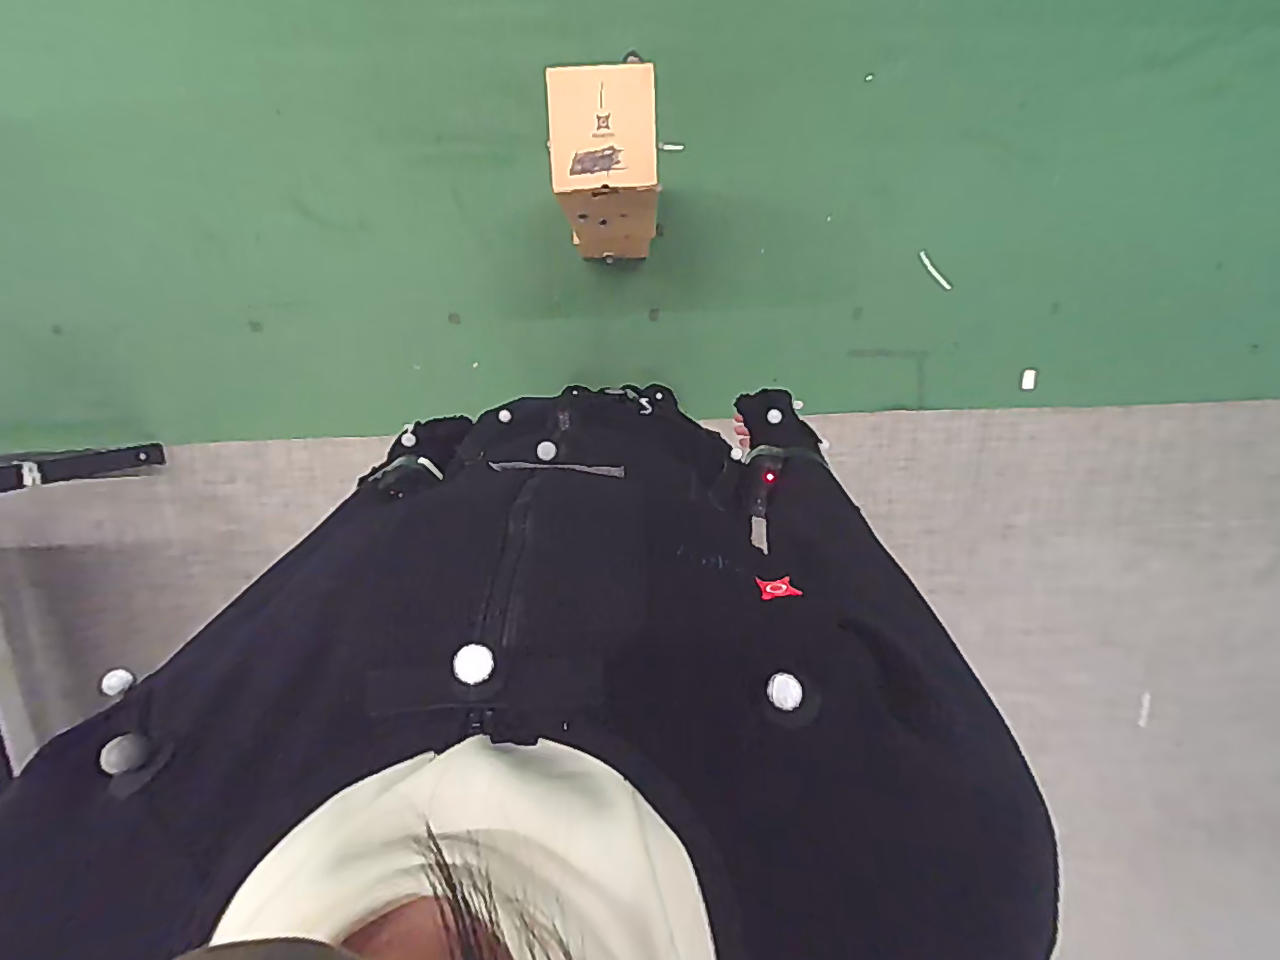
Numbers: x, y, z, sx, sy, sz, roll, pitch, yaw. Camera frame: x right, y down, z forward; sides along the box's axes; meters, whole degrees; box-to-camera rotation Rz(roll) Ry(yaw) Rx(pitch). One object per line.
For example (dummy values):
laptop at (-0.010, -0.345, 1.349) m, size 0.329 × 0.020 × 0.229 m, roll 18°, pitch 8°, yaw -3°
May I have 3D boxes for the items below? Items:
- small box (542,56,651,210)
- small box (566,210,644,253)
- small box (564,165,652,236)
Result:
small box at (-0.064, -0.561, 0.900) m, size 0.168 × 0.176 × 0.179 m, roll -2°, pitch 101°, yaw 0°
small box at (-0.073, -0.619, 1.204) m, size 0.168 × 0.176 × 0.179 m, roll 1°, pitch 102°, yaw 1°
small box at (-0.062, -0.596, 1.061) m, size 0.168 × 0.176 × 0.179 m, roll -2°, pitch 101°, yaw 0°
